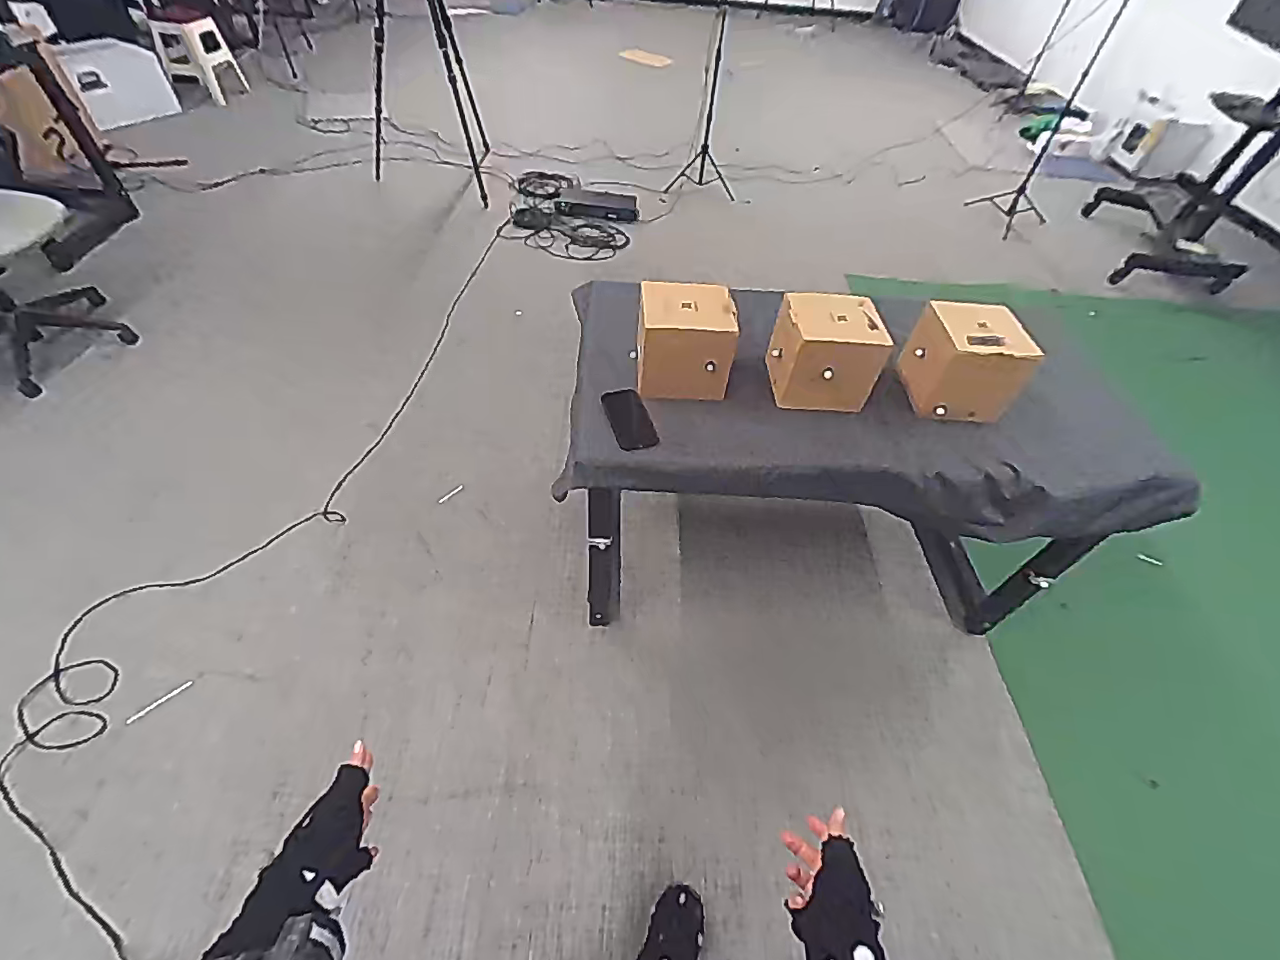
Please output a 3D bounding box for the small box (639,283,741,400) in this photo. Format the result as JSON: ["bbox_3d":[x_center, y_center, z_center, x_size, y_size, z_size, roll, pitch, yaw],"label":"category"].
[{"bbox_3d":[0.093,-0.277,1.097,0.179,0.176,0.168,1,49,-4],"label":"small box"}]

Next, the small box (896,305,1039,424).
[{"bbox_3d":[0.661,-0.235,1.117,0.168,0.176,0.179,4,49,-2],"label":"small box"}]

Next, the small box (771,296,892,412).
[{"bbox_3d":[0.376,-0.254,1.105,0.179,0.176,0.168,2,50,-3],"label":"small box"}]
